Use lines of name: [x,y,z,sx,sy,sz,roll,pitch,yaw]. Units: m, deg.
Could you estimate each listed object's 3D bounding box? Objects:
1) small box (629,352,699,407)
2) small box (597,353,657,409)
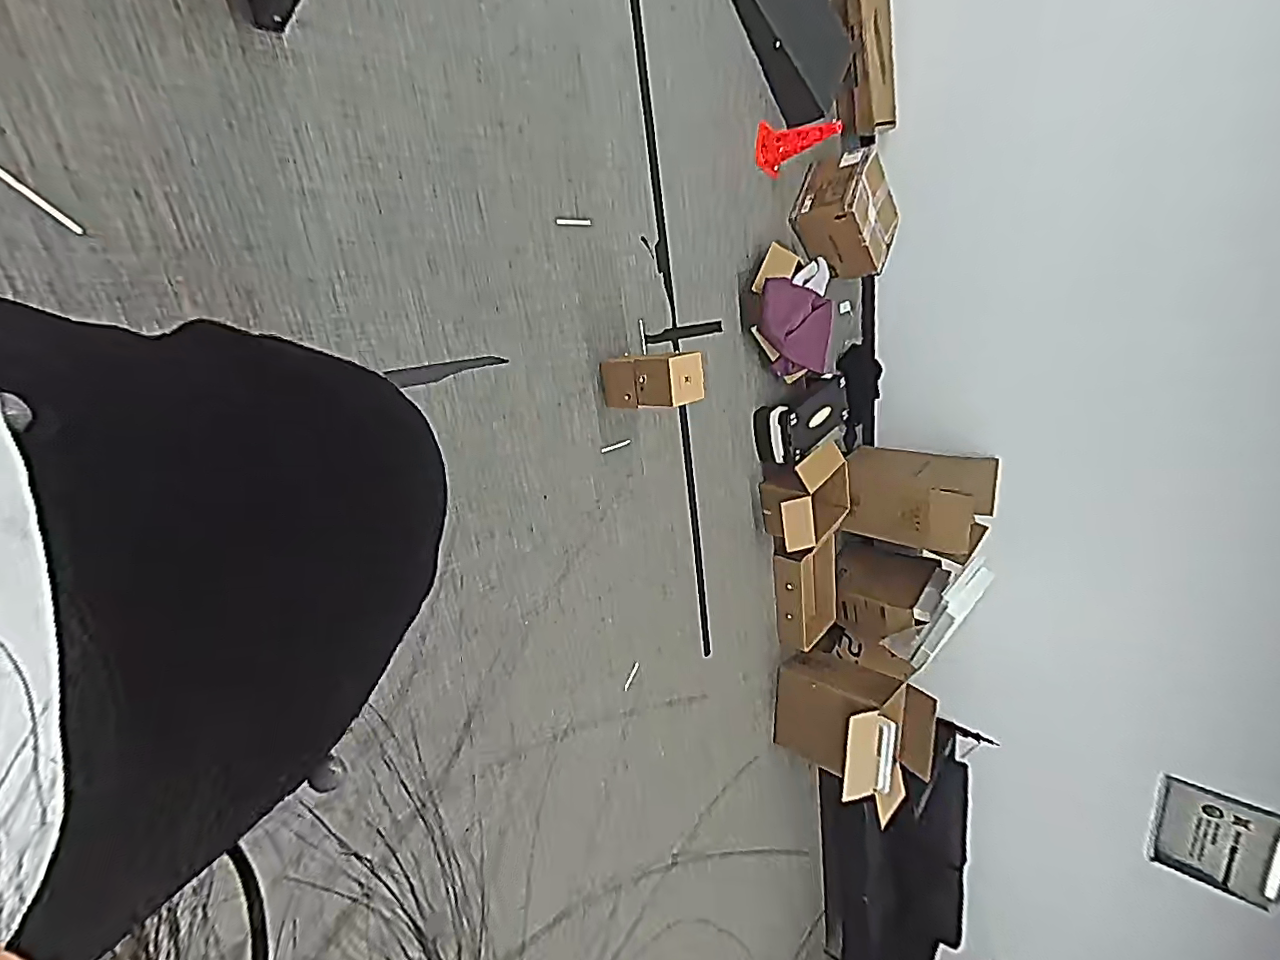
small box: [0.085,-0.359,1.911,0.179,0.176,0.168,-23,113,-41]
small box: [-0.039,-0.373,2.015,0.168,0.176,0.179,-25,115,-41]
